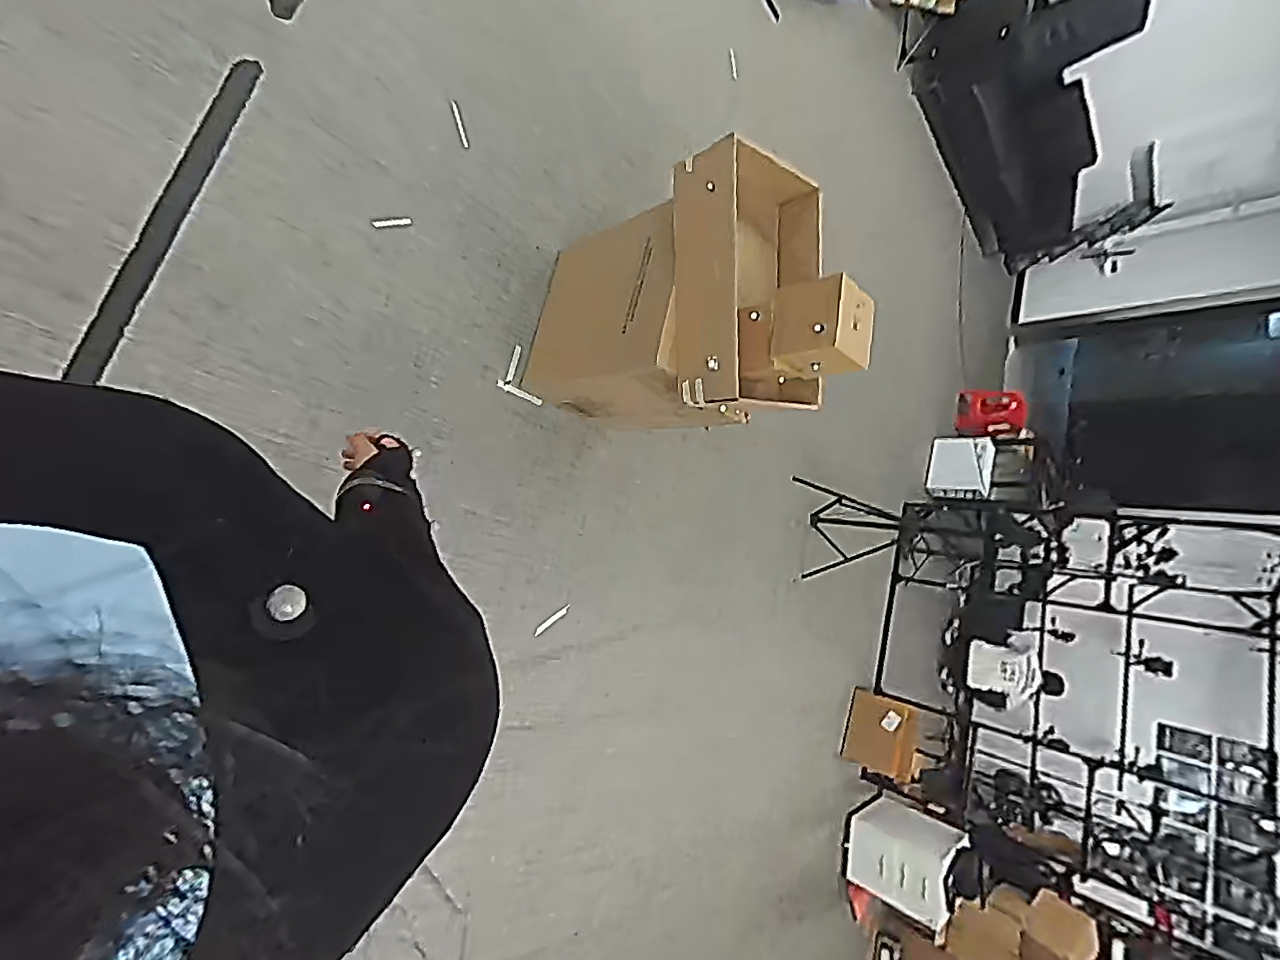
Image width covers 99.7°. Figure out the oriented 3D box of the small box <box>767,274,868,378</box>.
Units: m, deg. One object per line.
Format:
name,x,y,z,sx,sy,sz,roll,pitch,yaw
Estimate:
small box,0.422,-0.356,1.294,0.168,0.176,0.179,15,80,-43
